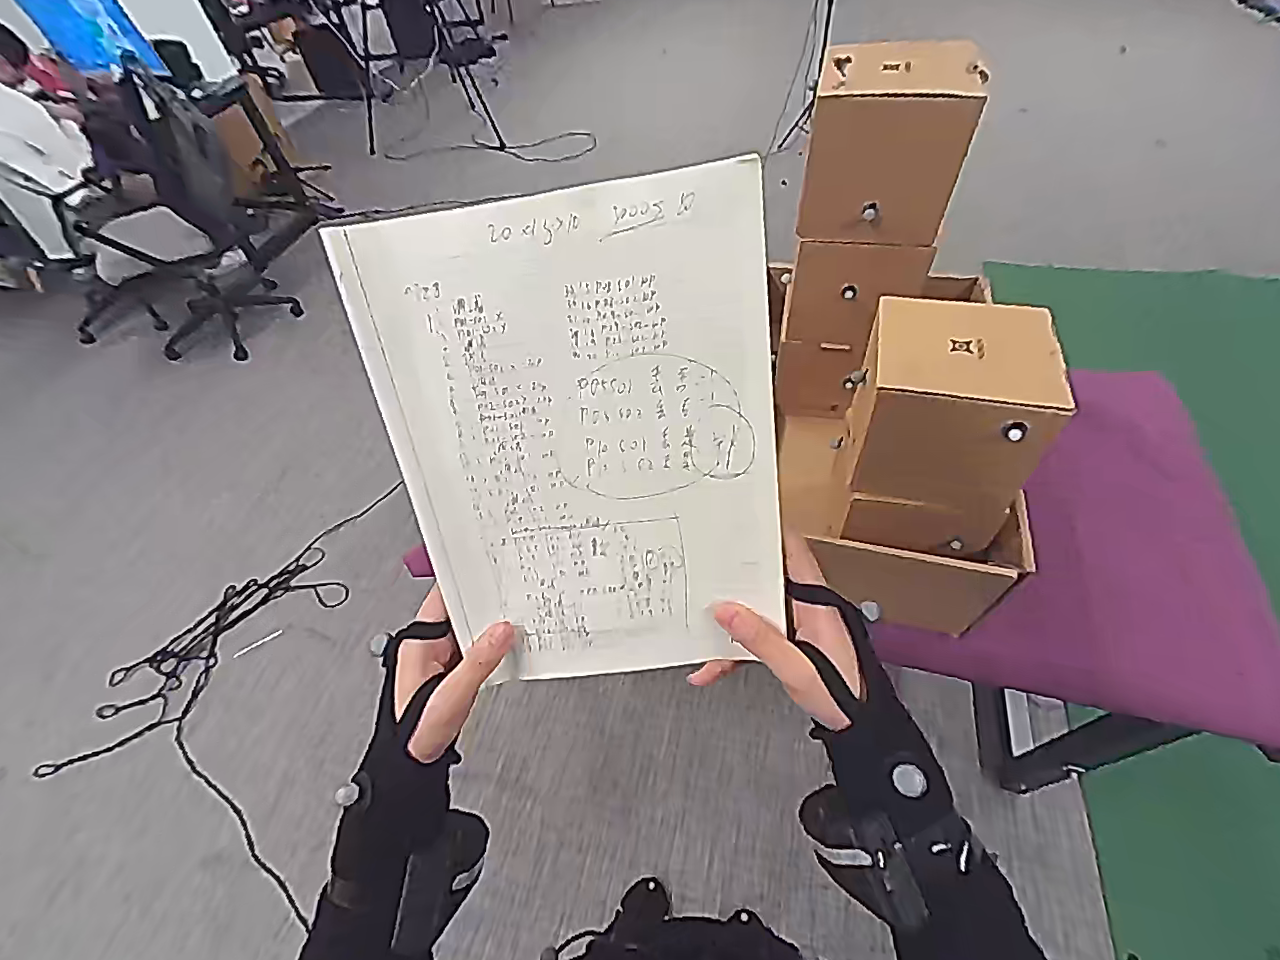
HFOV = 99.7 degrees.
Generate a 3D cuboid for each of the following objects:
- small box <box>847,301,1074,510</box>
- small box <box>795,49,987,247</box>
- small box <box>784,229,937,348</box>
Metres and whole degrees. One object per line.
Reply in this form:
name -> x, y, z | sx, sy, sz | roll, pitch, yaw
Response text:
small box -> 0.348, -0.084, 0.627 | 0.179, 0.176, 0.168 | 10, 52, 14
small box -> 0.309, -0.422, 0.695 | 0.179, 0.176, 0.168 | 11, 54, 12
small box -> 0.324, -0.319, 0.822 | 0.179, 0.176, 0.168 | 8, 54, 12
